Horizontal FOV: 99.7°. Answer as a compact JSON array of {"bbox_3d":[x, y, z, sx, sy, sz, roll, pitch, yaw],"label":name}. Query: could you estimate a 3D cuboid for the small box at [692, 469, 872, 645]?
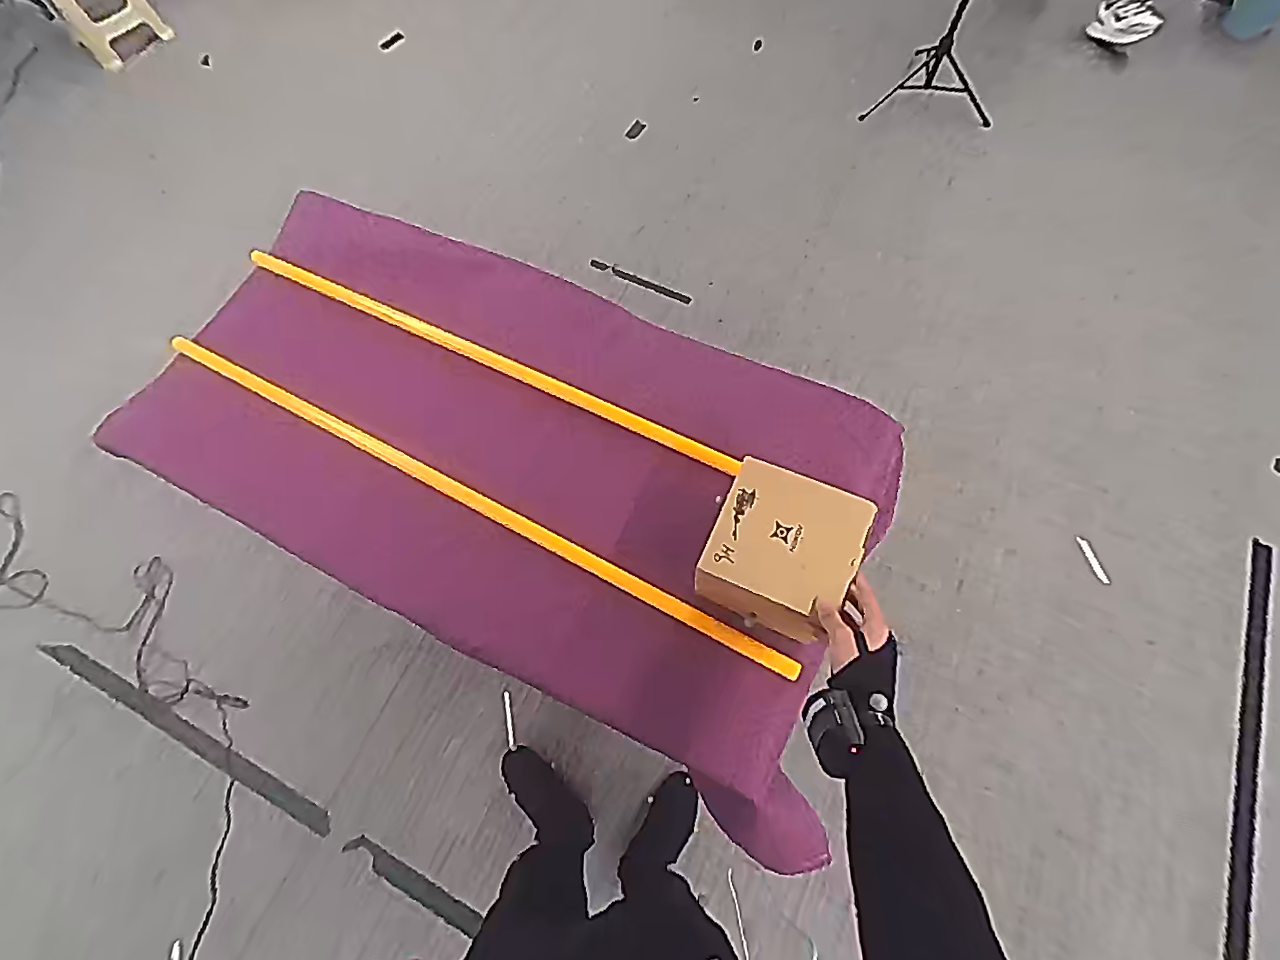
[{"bbox_3d":[0.183,0.114,0.741,0.179,0.176,0.168,23,72,13],"label":"small box"}]
